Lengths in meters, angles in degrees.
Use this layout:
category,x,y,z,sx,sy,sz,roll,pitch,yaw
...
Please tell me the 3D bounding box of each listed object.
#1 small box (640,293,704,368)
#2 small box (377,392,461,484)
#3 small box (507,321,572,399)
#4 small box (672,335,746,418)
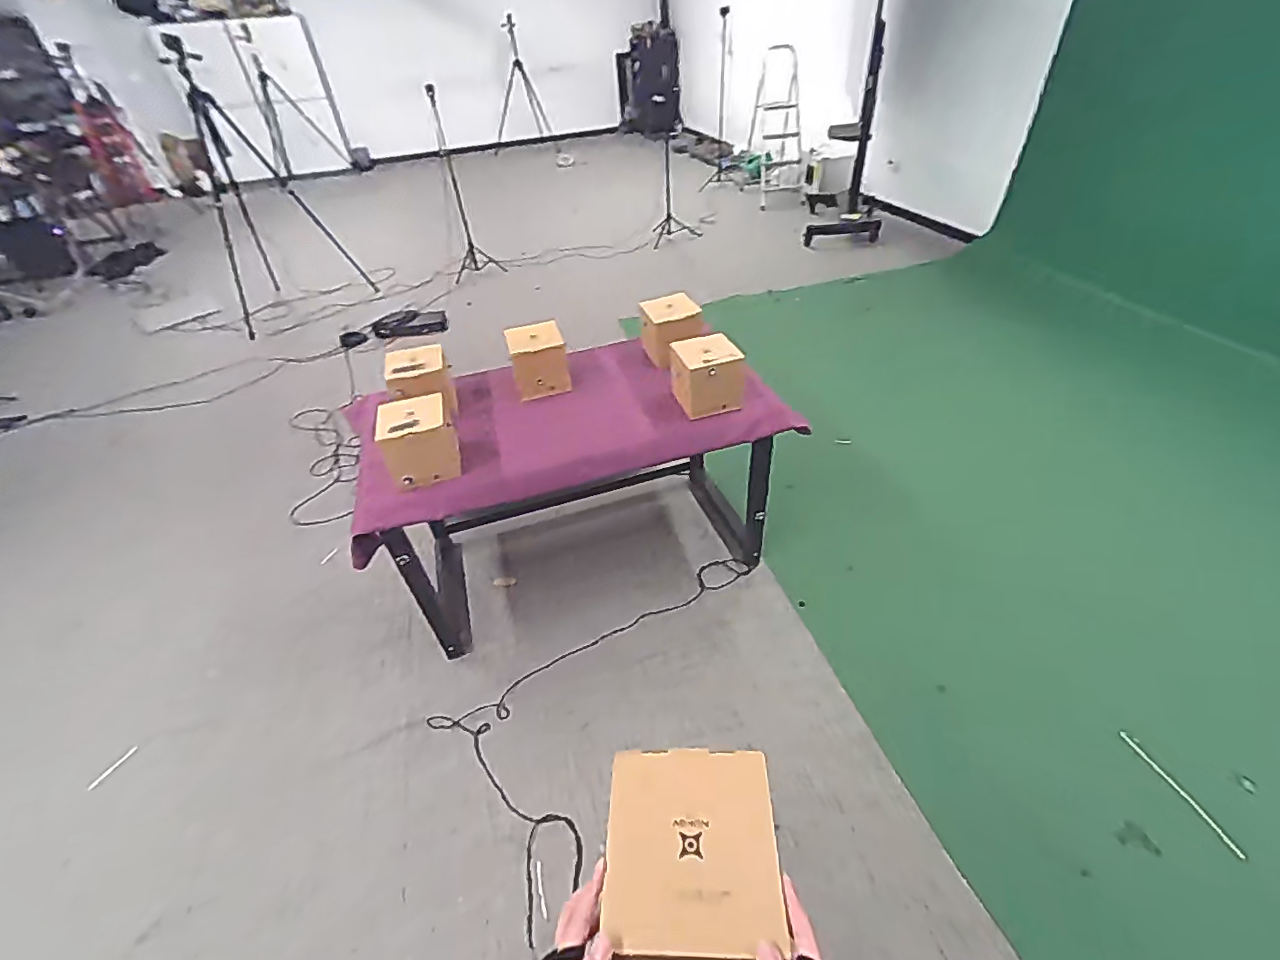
category,x,y,z,sx,sy,sz,roll,pitch,yaw
small box,0.108,-0.502,1.819,0.168,0.176,0.179,-17,43,-9
small box,-0.579,-0.106,1.433,0.168,0.176,0.179,-14,41,-11
small box,-0.323,-0.384,1.732,0.168,0.176,0.179,-14,43,-11
small box,0.198,-0.304,1.585,0.168,0.176,0.179,-14,40,-9
